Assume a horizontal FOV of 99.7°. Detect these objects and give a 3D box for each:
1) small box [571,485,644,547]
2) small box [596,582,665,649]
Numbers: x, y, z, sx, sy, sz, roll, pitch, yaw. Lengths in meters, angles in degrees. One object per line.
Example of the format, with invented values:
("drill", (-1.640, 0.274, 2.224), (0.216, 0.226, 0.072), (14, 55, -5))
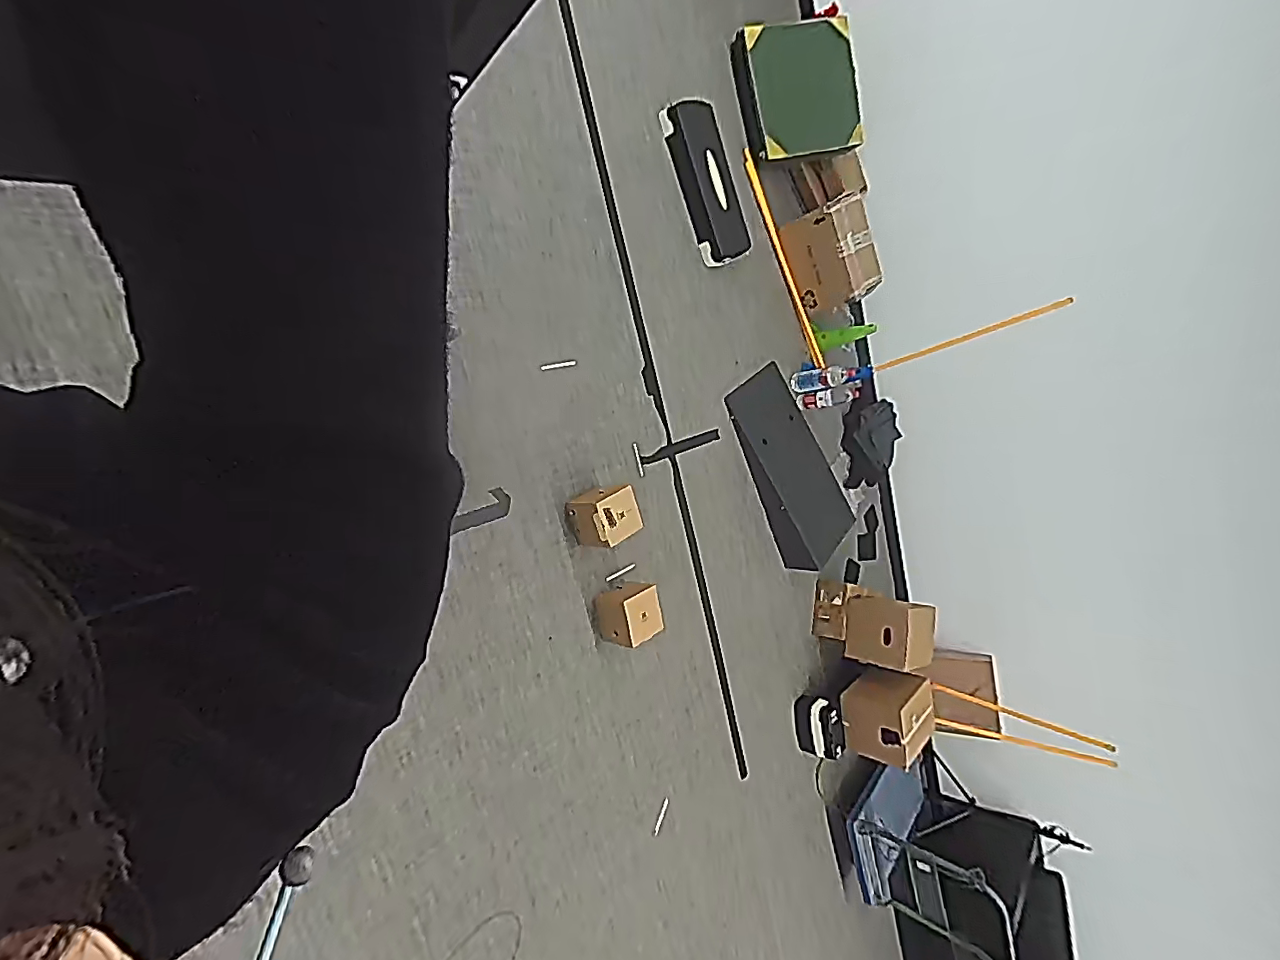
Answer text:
("small box", (-0.121, 0.125, 1.896), (0.179, 0.176, 0.168), (-29, 108, -41))
("small box", (-0.036, 0.484, 1.964), (0.168, 0.176, 0.179), (-19, 100, -43))
